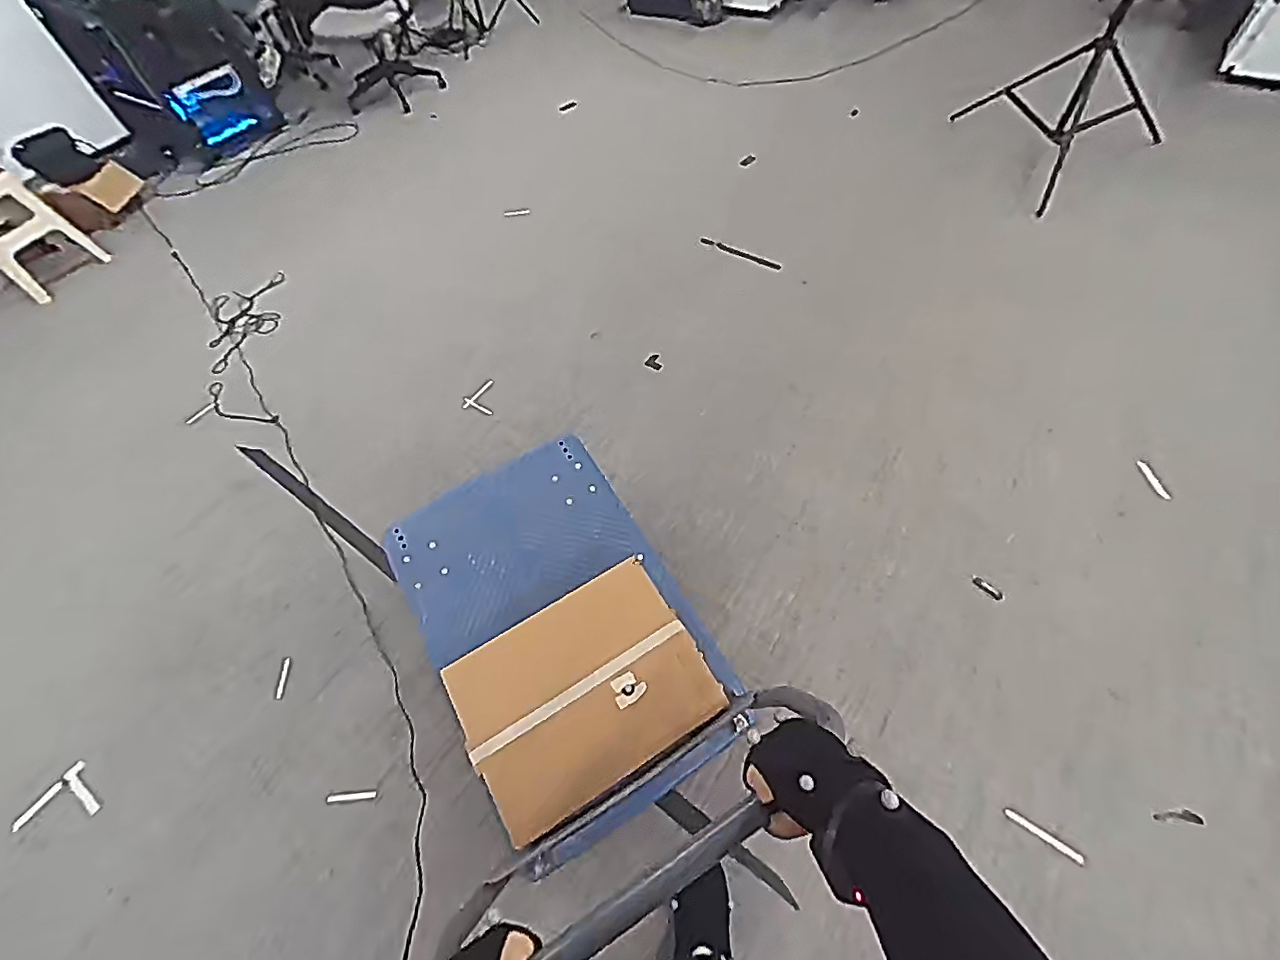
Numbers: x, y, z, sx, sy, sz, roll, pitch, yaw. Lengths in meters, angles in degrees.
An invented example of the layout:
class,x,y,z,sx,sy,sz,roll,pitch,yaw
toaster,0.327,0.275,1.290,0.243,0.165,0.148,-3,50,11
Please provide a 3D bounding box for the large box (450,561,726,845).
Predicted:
class,x,y,z,sx,sy,sz,roll,pitch,yaw
large box,-0.092,0.434,1.077,0.408,0.320,0.320,-29,66,-14
